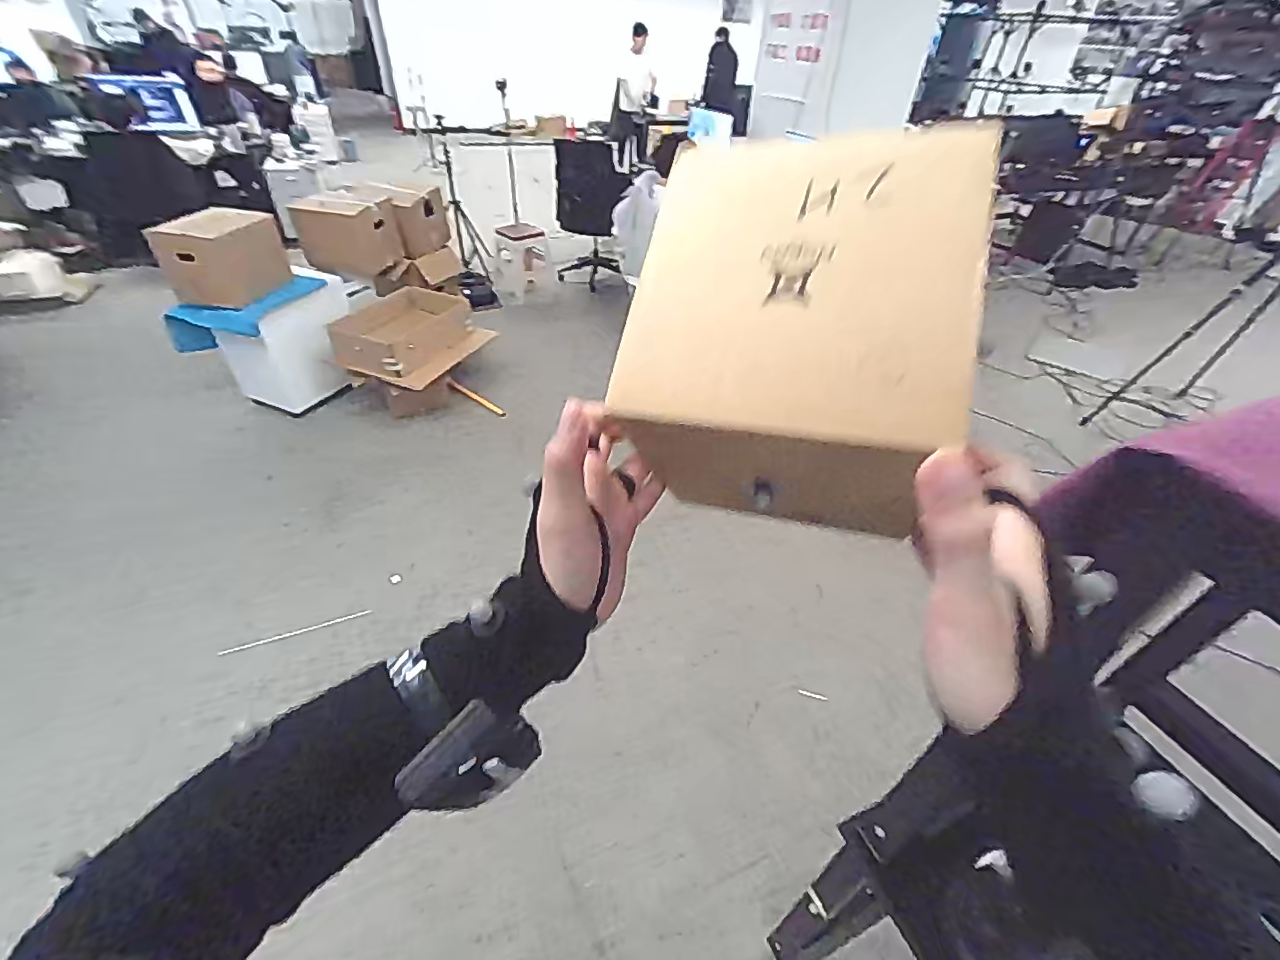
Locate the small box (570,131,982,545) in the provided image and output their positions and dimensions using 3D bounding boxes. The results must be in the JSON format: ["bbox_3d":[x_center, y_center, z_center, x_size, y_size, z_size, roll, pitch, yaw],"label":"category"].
[{"bbox_3d":[0.084,-0.071,0.332,0.168,0.176,0.179,11,75,20],"label":"small box"}]
